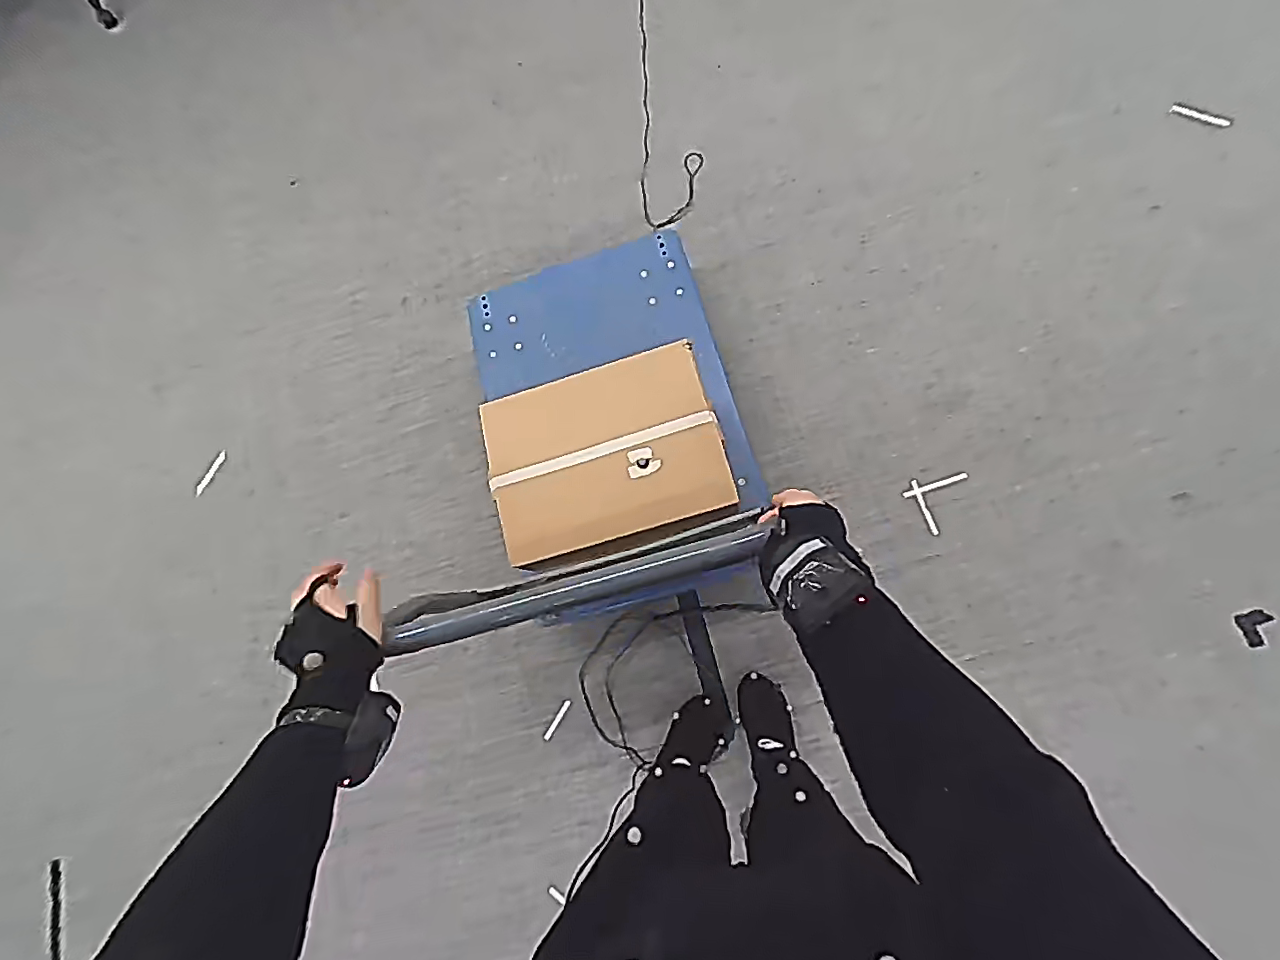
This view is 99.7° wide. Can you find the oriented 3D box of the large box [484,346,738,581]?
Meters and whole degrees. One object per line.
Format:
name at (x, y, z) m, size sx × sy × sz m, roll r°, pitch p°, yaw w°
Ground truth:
large box at (-0.042, -0.007, 1.093) m, size 0.408 × 0.320 × 0.320 m, roll -17°, pitch 75°, yaw 5°
